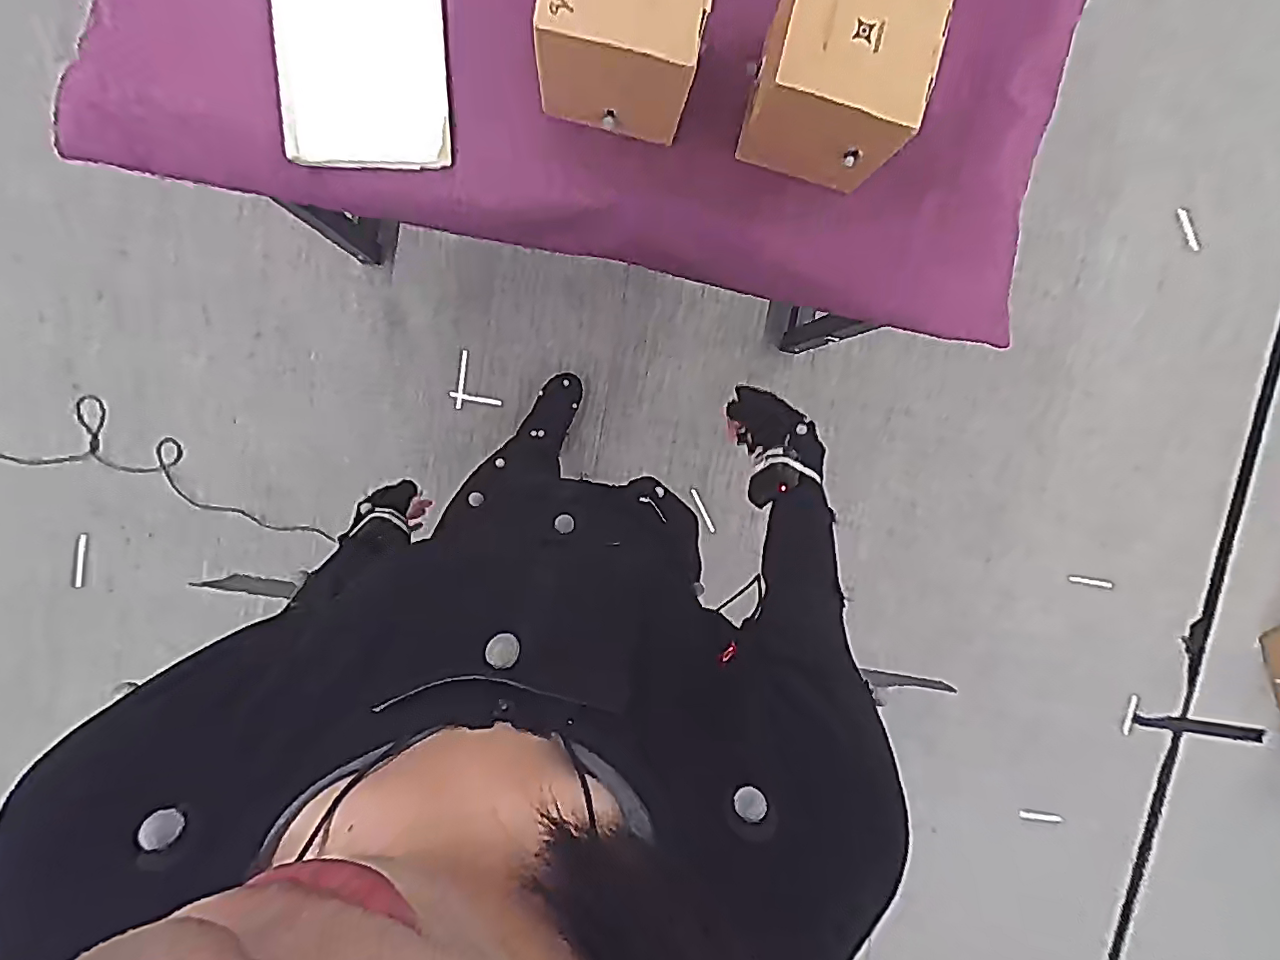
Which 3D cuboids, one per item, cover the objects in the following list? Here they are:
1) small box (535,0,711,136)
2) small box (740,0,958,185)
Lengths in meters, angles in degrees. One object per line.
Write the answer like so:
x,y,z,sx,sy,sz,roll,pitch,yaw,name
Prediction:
-0.017,-0.539,0.630,0.179,0.176,0.168,9,94,-7,small box
0.243,-0.494,0.662,0.179,0.176,0.168,13,93,-5,small box
